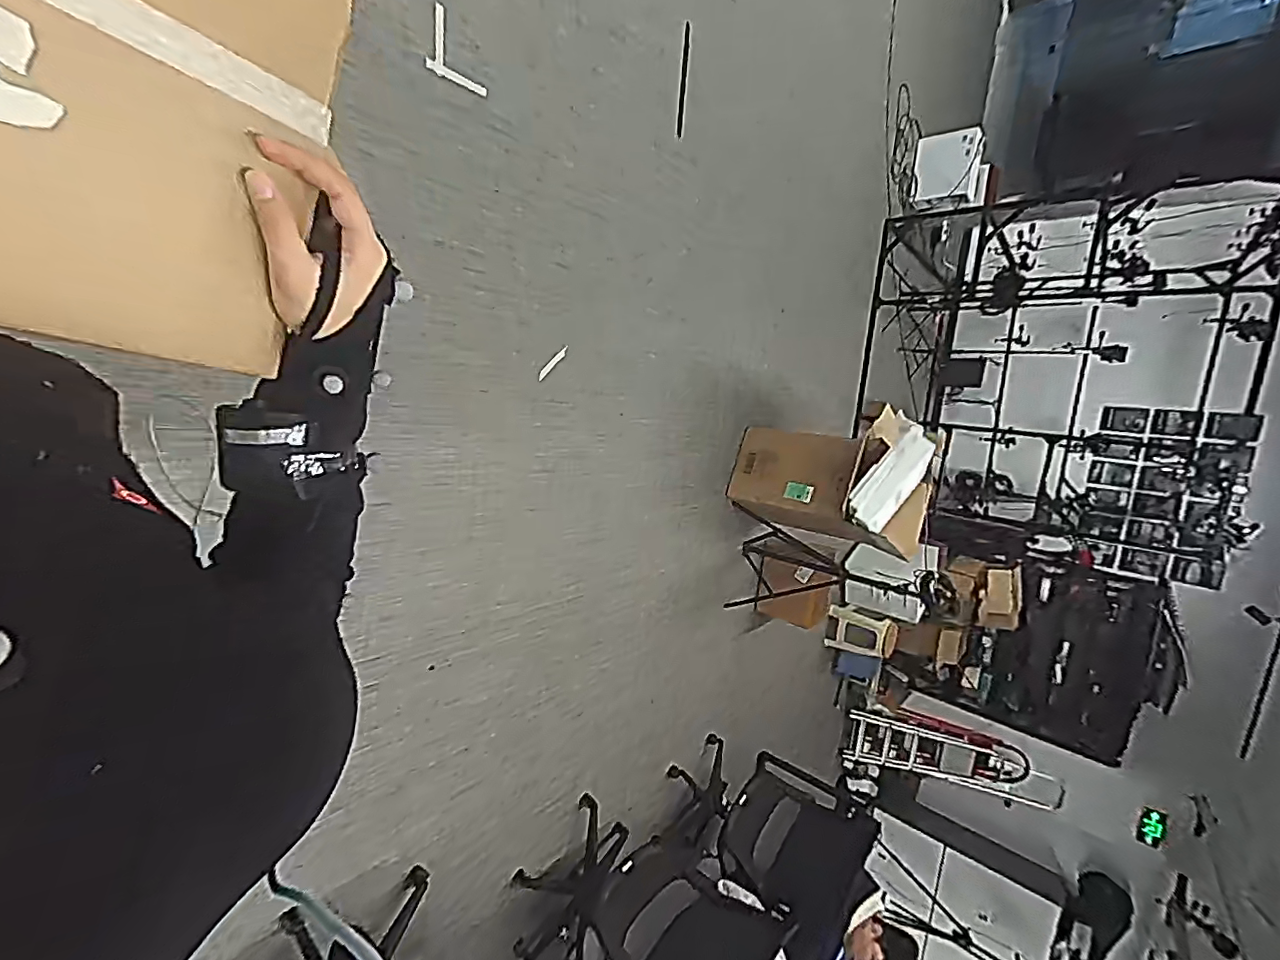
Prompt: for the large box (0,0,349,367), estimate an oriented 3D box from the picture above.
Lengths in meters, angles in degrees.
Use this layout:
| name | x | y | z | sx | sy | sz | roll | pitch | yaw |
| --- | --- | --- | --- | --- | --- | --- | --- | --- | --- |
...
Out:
| name | x | y | z | sx | sy | sz | roll | pitch | yaw |
| --- | --- | --- | --- | --- | --- | --- | --- | --- | --- |
| large box | -0.430 | -0.273 | 0.271 | 0.408 | 0.320 | 0.320 | 6 | 105 | -52 |
